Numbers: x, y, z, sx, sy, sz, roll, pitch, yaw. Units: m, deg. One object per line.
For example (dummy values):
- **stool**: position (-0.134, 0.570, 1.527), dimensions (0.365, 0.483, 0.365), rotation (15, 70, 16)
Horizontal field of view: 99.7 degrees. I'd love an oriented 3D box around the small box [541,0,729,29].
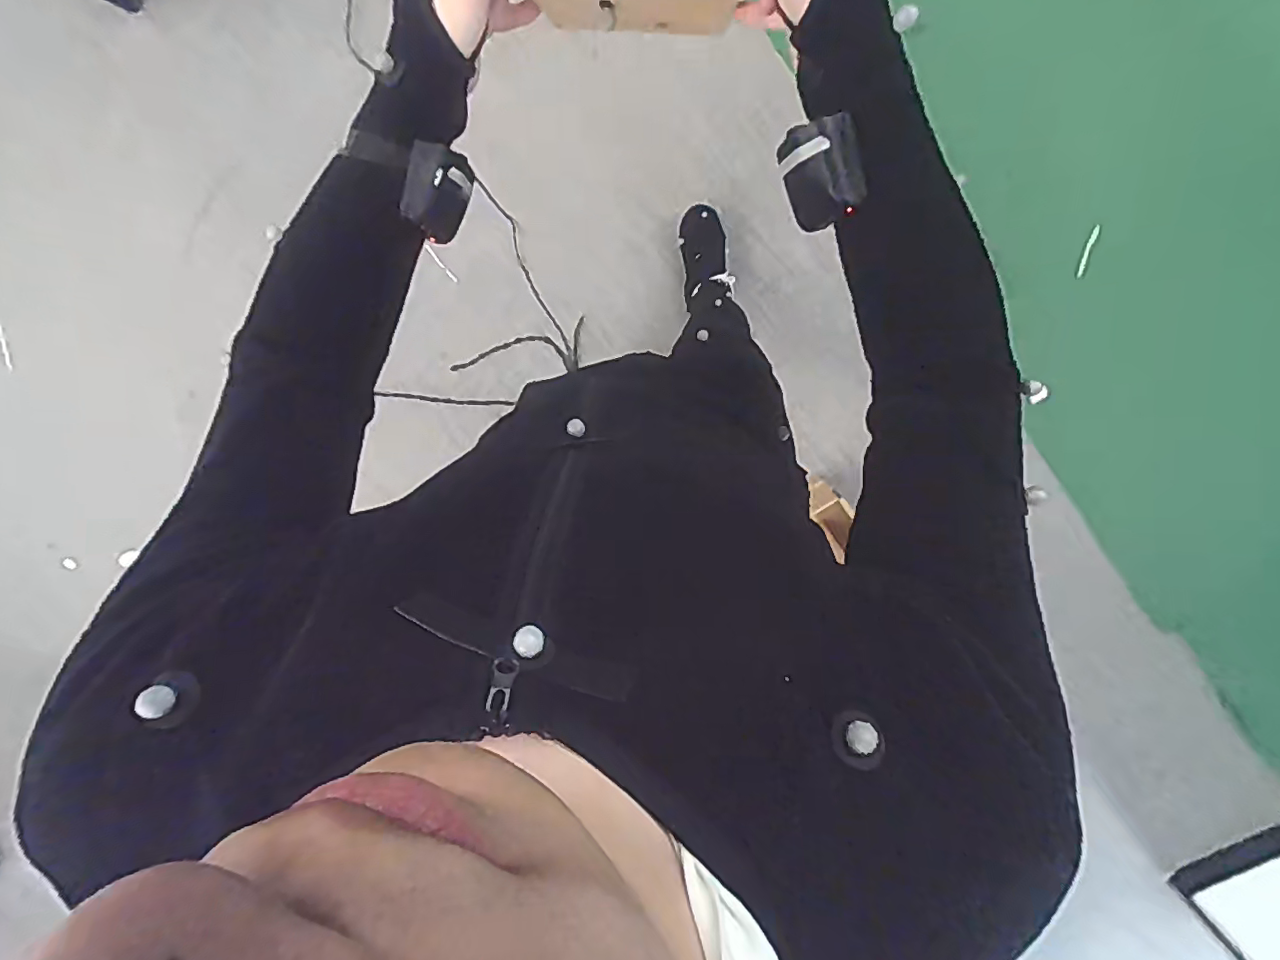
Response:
- **small box**: position (-0.004, -0.461, 0.398), dimensions (0.168, 0.176, 0.179), rotation (3, 119, 1)
